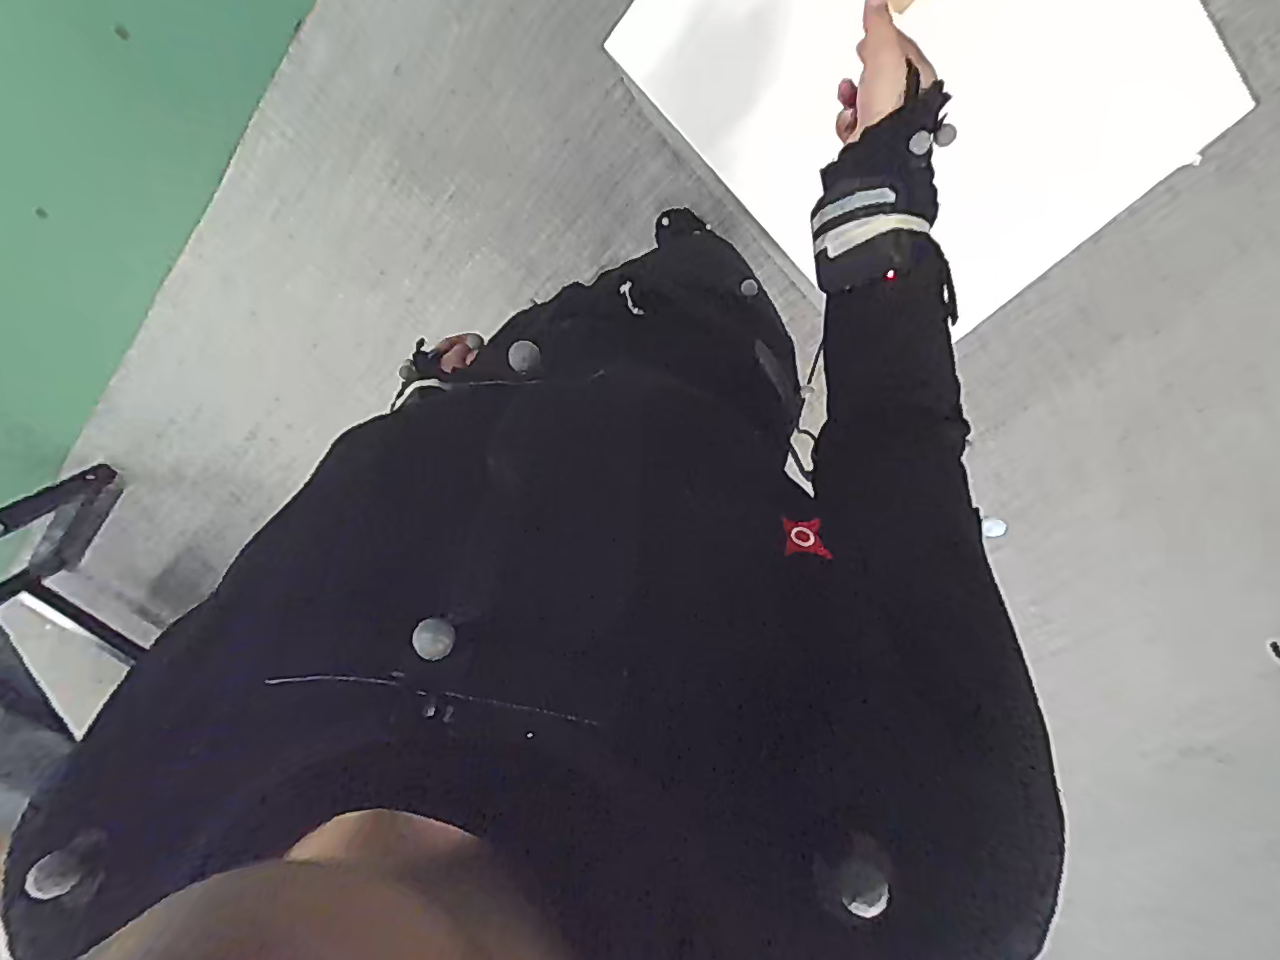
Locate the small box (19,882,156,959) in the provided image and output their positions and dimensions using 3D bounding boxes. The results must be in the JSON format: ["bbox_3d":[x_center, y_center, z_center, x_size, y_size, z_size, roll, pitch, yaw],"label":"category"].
[{"bbox_3d":[-1.265,1.063,1.233,0.168,0.176,0.179,35,117,-10],"label":"small box"}]
